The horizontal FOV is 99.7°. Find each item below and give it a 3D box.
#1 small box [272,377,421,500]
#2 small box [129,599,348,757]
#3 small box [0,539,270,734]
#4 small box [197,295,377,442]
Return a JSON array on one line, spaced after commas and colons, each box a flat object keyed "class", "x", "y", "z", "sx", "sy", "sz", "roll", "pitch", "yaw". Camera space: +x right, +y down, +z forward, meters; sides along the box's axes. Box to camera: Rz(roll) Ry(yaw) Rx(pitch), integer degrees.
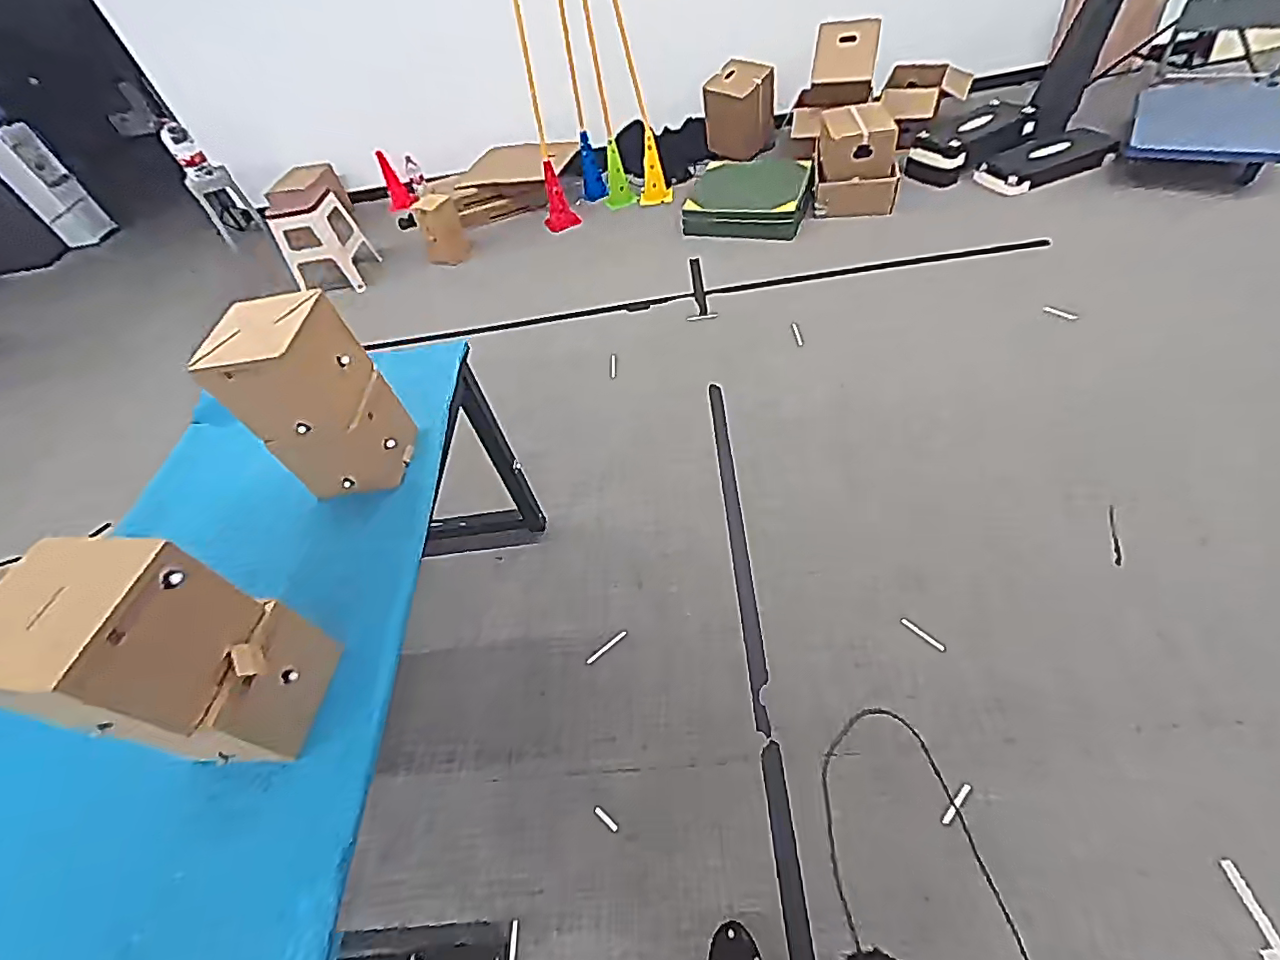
[{"class": "small box", "x": -0.561, "y": -0.086, "z": 1.049, "sx": 0.179, "sy": 0.176, "sz": 0.168, "roll": -8, "pitch": 50, "yaw": 5}, {"class": "small box", "x": -0.556, "y": 0.276, "z": 0.749, "sx": 0.179, "sy": 0.176, "sz": 0.168, "roll": -3, "pitch": 50, "yaw": 8}, {"class": "small box", "x": -0.592, "y": 0.179, "z": 0.620, "sx": 0.179, "sy": 0.176, "sz": 0.168, "roll": 1, "pitch": 51, "yaw": 9}, {"class": "small box", "x": -0.593, "y": -0.192, "z": 0.928, "sx": 0.168, "sy": 0.176, "sz": 0.179, "roll": -7, "pitch": 53, "yaw": 7}]
